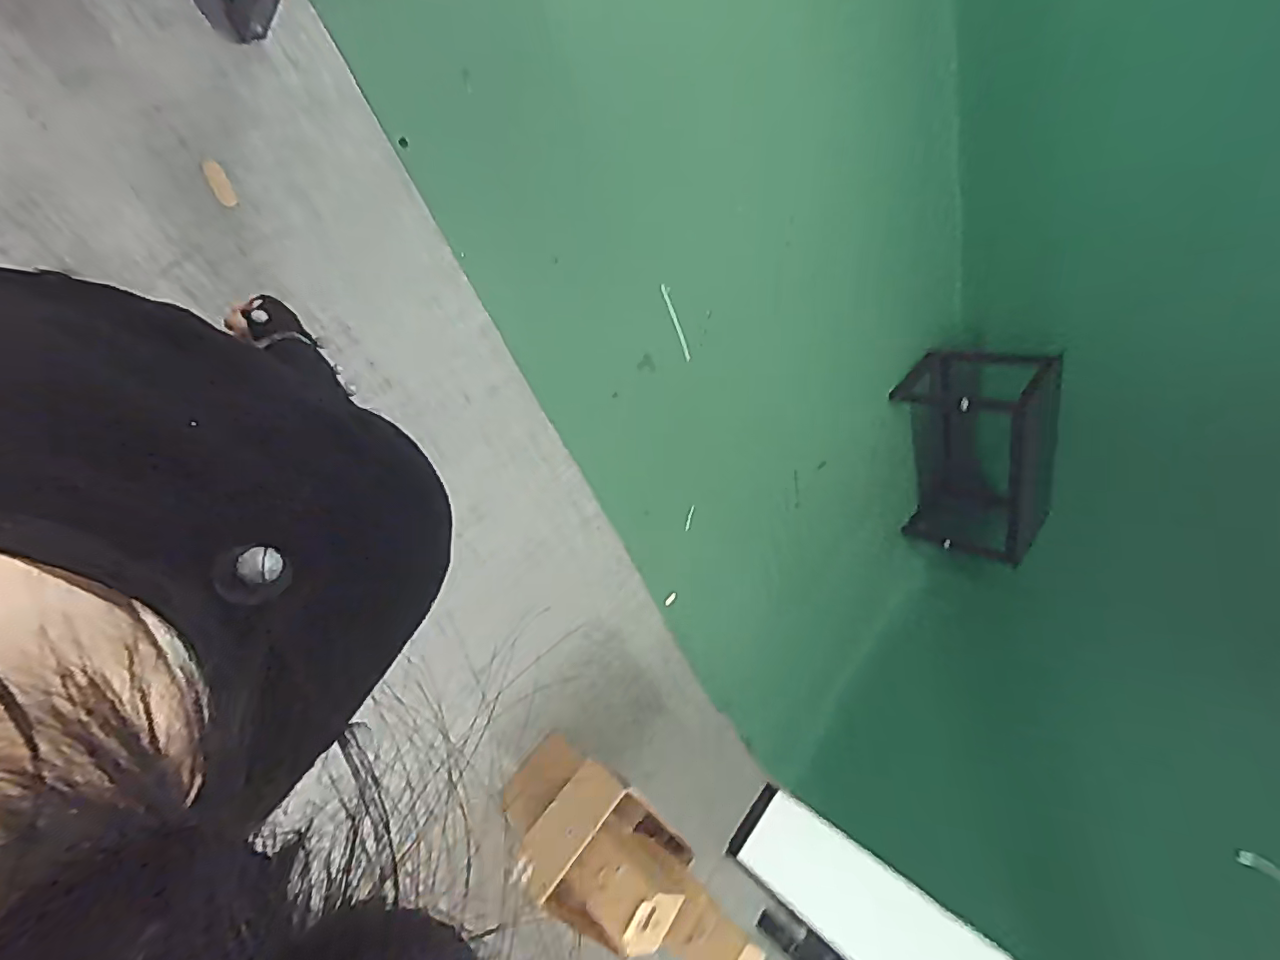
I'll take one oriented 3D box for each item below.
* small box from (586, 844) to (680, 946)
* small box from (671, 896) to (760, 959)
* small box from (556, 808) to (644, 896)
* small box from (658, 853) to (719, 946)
[{"bbox_3d":[-0.023,1.193,1.562,0.168,0.176,0.179,-55,132,-14],"label":"small box"},{"bbox_3d":[0.225,1.397,1.617,0.168,0.176,0.179,-49,128,-23],"label":"small box"},{"bbox_3d":[-0.128,1.159,1.683,0.168,0.176,0.179,-56,132,-14],"label":"small box"},{"bbox_3d":[0.116,1.352,1.733,0.179,0.176,0.168,-50,129,-21],"label":"small box"}]
